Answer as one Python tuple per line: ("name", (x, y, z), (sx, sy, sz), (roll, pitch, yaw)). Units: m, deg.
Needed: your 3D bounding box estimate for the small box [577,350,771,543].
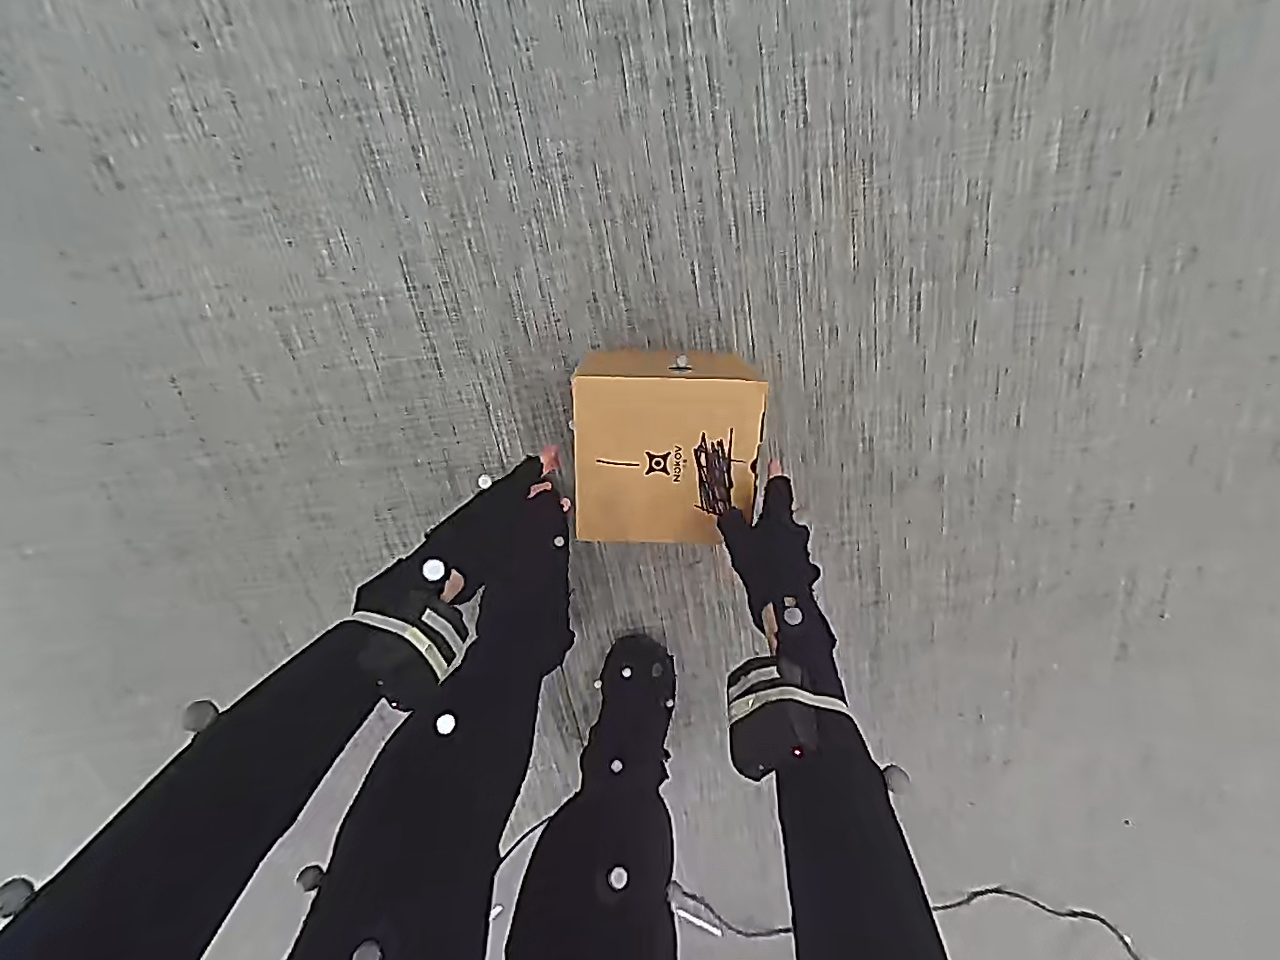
("small box", (0.027, -0.045, 0.579), (0.179, 0.176, 0.168), (2, 110, 0))
